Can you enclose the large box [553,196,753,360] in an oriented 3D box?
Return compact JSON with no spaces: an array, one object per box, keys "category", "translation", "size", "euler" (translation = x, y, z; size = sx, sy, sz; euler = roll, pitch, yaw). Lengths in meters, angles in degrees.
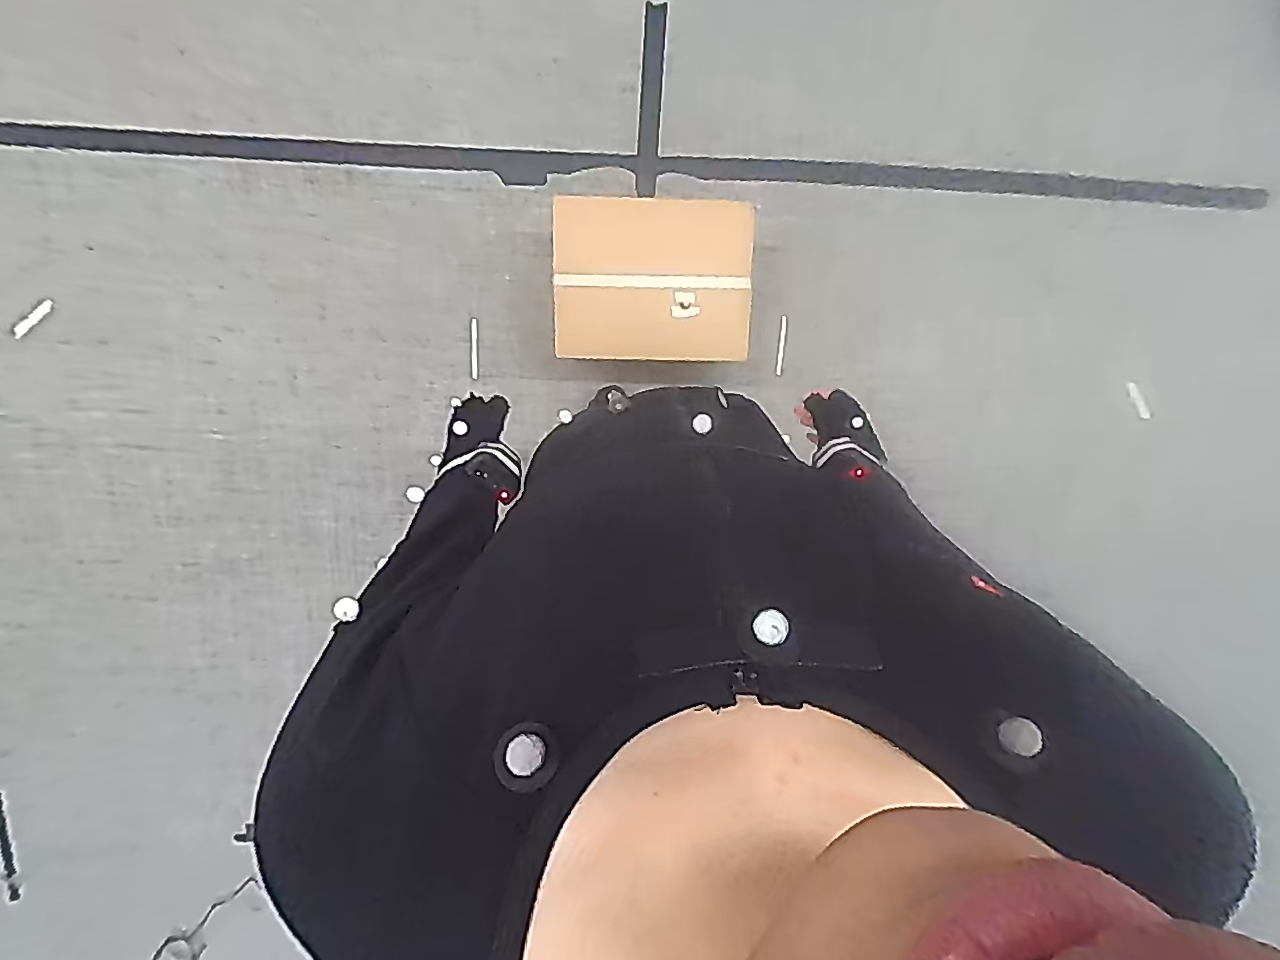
[{"category":"large box","translation":[0.018,-0.438,1.245],"size":[0.408,0.320,0.320],"euler":[0,103,-4]}]
